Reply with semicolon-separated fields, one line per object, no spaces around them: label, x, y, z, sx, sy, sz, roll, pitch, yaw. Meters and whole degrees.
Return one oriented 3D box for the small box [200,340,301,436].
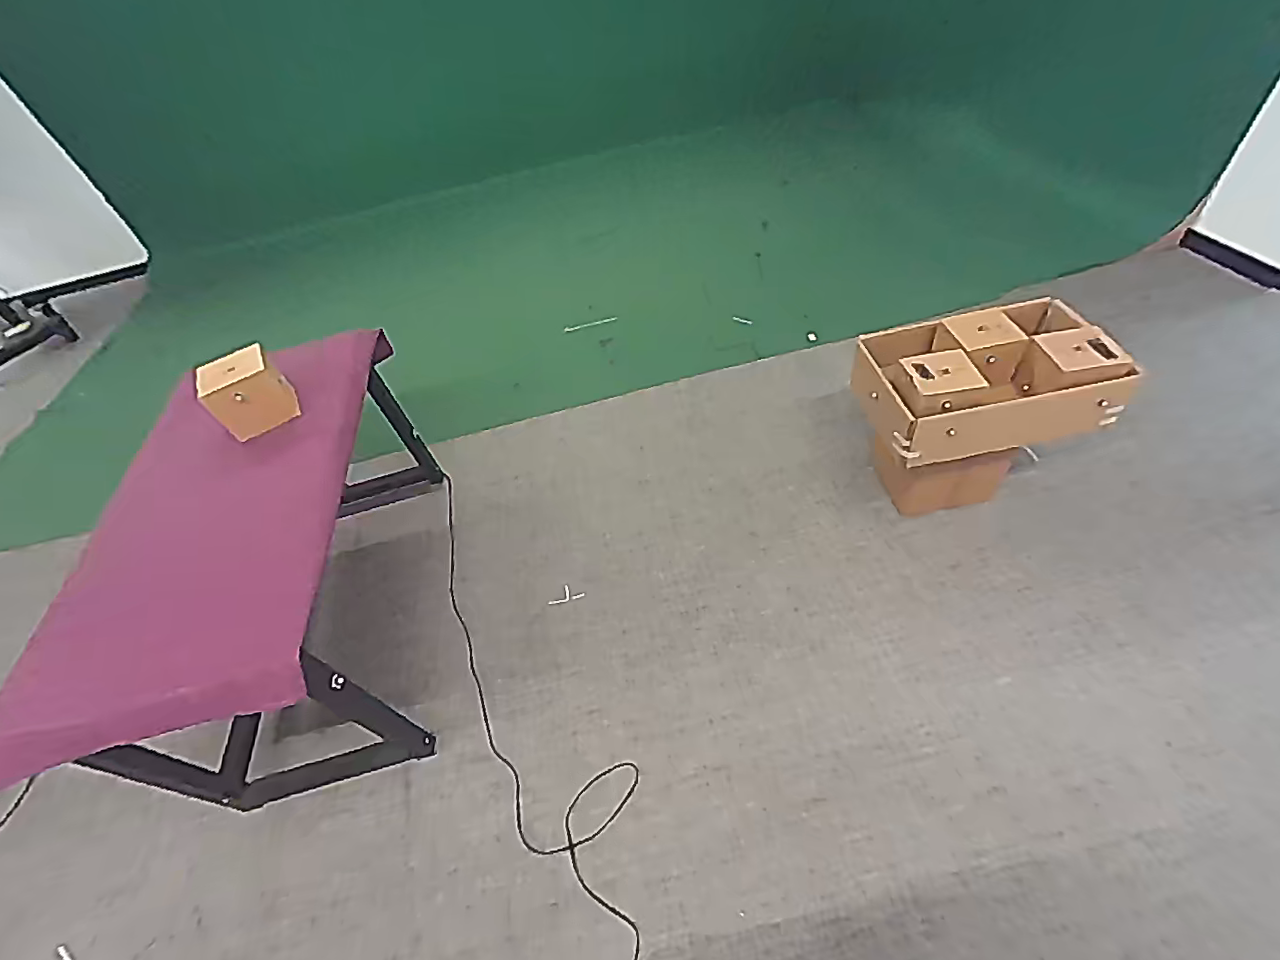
small box;-1.097;-0.259;1.533;0.179;0.176;0.168;-31;51;-14

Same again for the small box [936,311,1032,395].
small box;1.010;-0.374;1.613;0.179;0.176;0.168;-11;50;3
